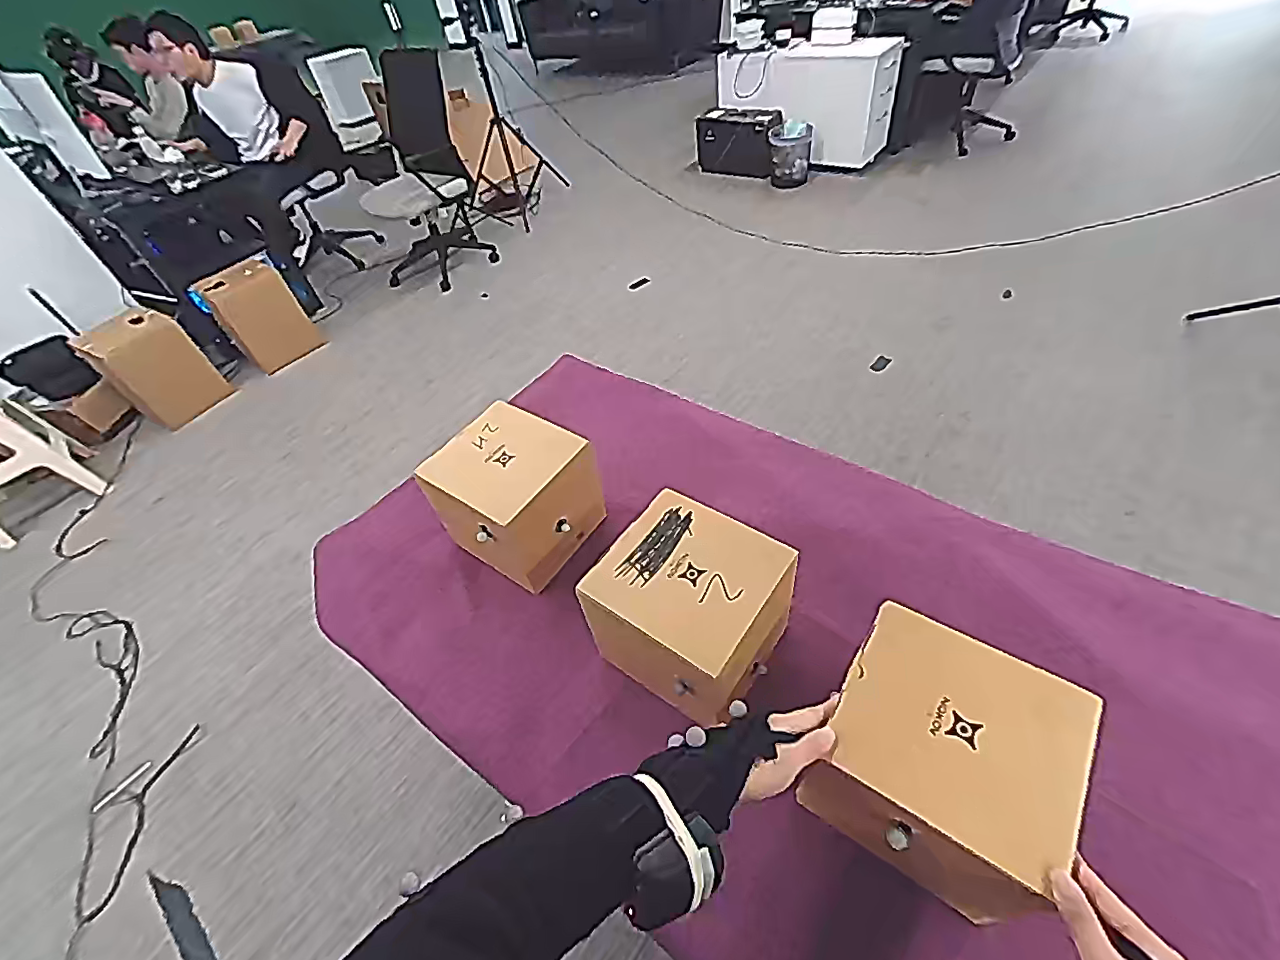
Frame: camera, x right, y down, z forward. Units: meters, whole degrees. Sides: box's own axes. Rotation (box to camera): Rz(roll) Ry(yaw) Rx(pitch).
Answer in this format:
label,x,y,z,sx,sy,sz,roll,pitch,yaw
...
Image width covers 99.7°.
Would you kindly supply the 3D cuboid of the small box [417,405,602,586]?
label,x,y,z,sx,sy,sz,roll,pitch,yaw
small box,-0.173,0.027,0.778,0.179,0.176,0.168,25,56,26
